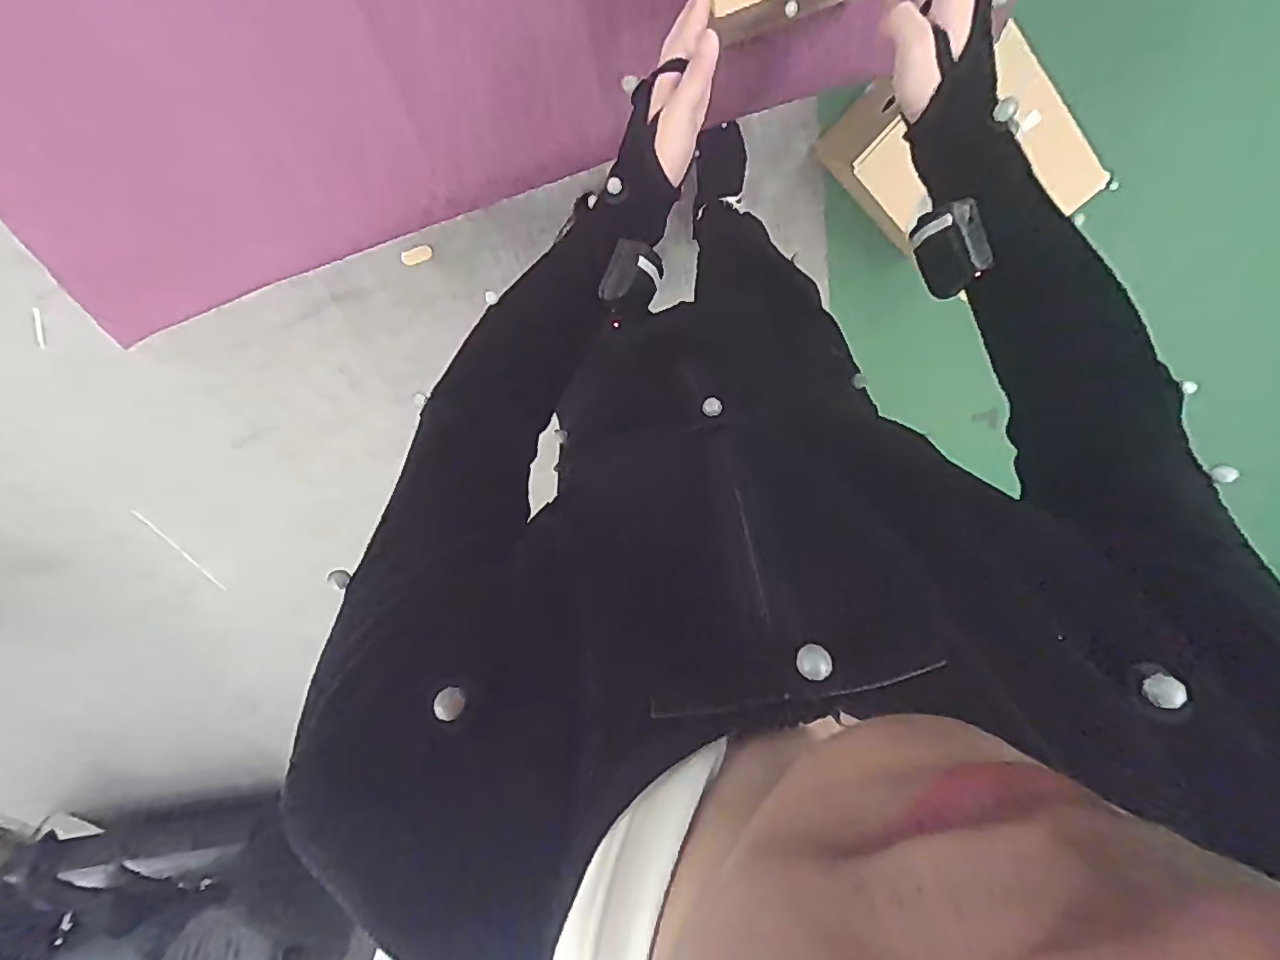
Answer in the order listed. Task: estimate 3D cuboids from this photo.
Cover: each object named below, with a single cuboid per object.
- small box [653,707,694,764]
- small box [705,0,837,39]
[{"bbox_3d":[0.150,1.114,2.358,0.168,0.176,0.179,-3,127,7],"label":"small box"},{"bbox_3d":[0.125,-0.515,0.454,0.168,0.176,0.179,-11,120,13],"label":"small box"}]
